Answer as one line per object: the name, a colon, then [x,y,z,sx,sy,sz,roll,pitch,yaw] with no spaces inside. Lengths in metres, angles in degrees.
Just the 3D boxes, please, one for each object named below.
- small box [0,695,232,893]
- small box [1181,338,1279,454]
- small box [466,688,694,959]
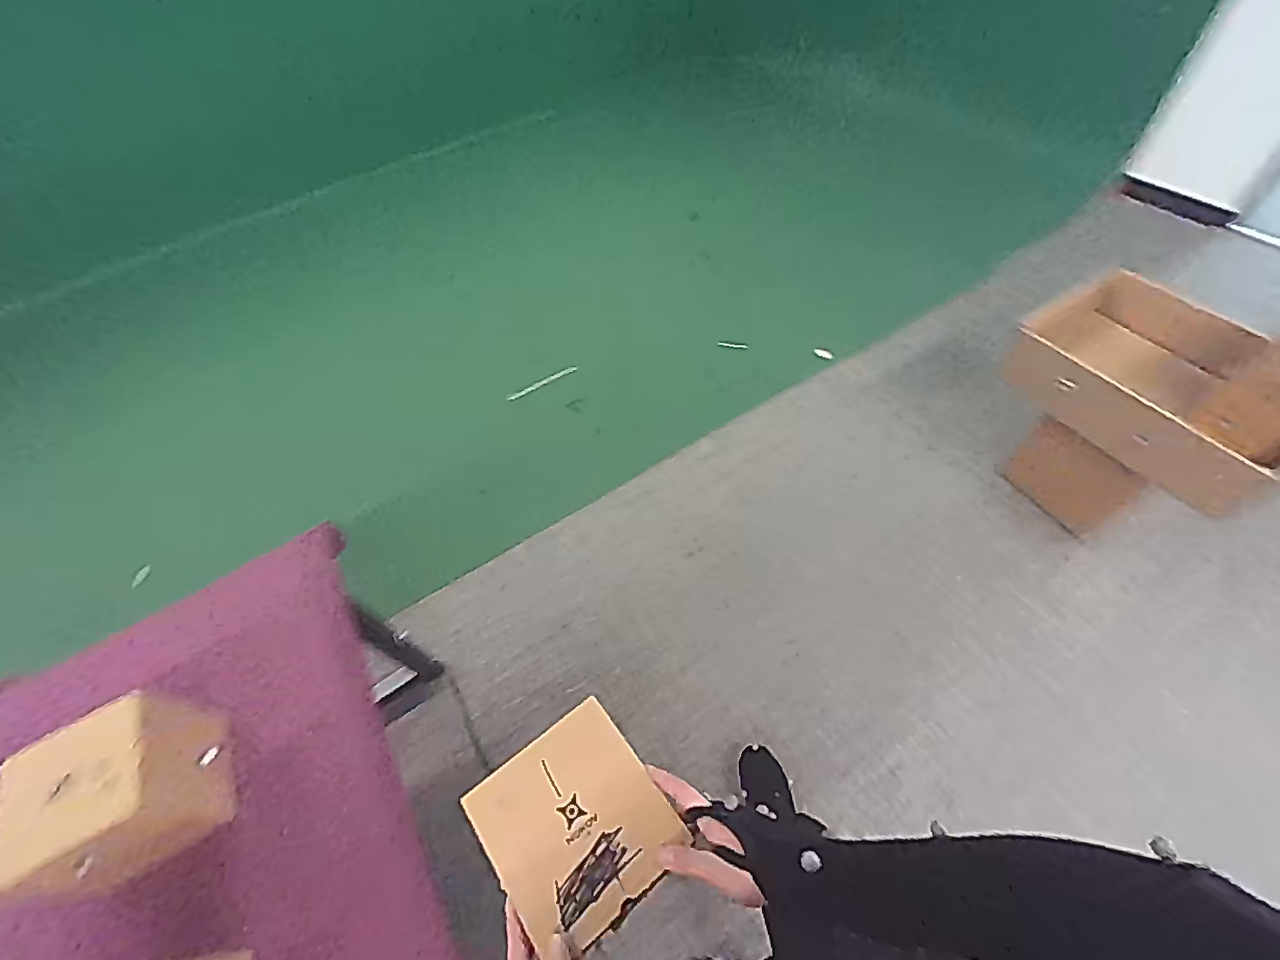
small box: [-0.718,0.435,0.749,0.179,0.176,0.168,-29,57,-13]
small box: [1.460,-0.196,1.276,0.179,0.176,0.168,-29,58,-12]
small box: [-0.059,0.369,0.594,0.168,0.176,0.179,-32,59,-20]
